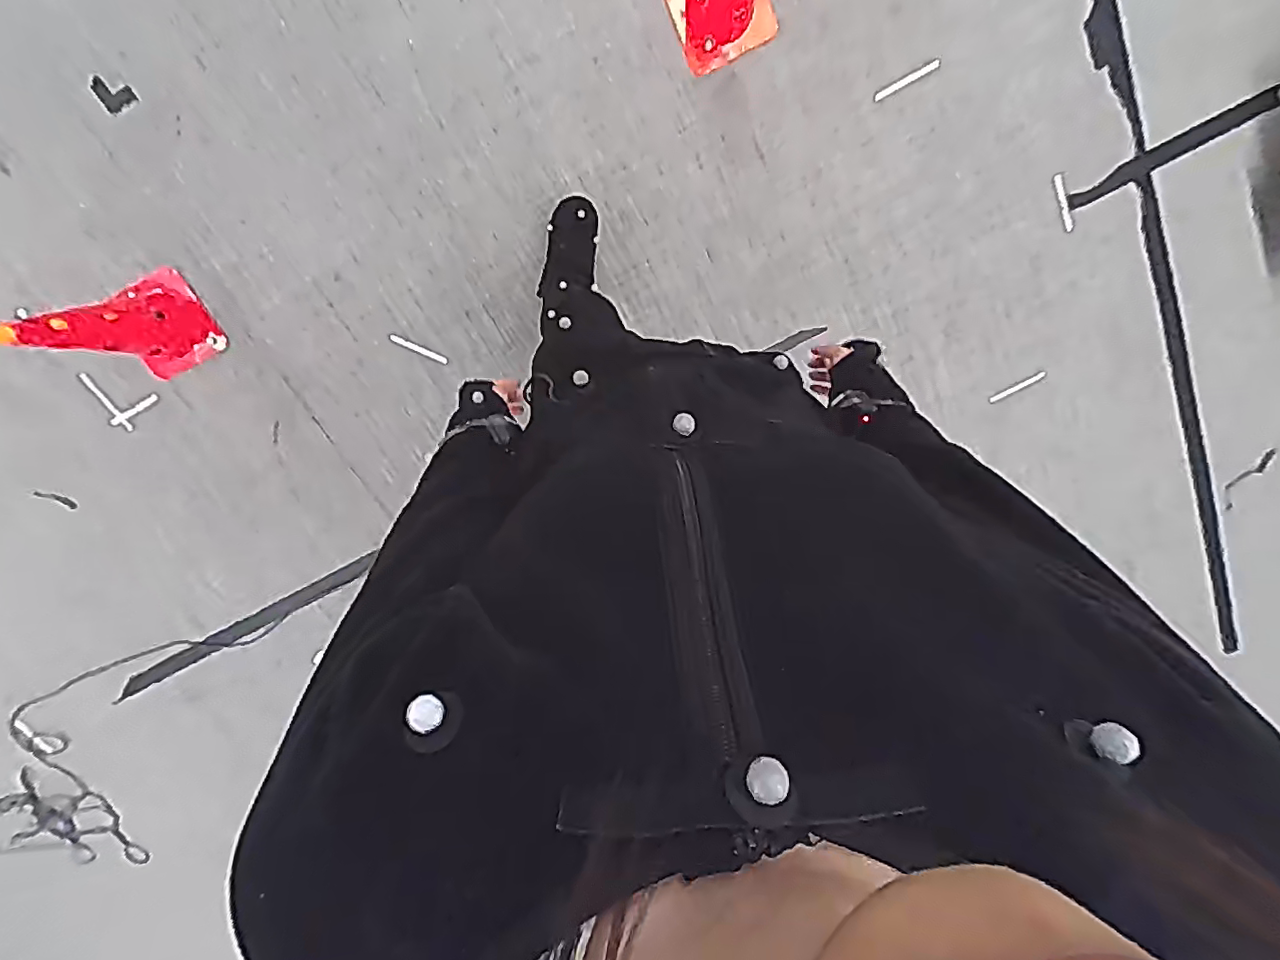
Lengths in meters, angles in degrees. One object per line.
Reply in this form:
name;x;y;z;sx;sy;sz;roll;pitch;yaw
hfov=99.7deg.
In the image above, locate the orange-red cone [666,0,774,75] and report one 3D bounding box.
orange-red cone;0.176;-0.927;0.957;0.199;0.360;0.198;-25;108;3
